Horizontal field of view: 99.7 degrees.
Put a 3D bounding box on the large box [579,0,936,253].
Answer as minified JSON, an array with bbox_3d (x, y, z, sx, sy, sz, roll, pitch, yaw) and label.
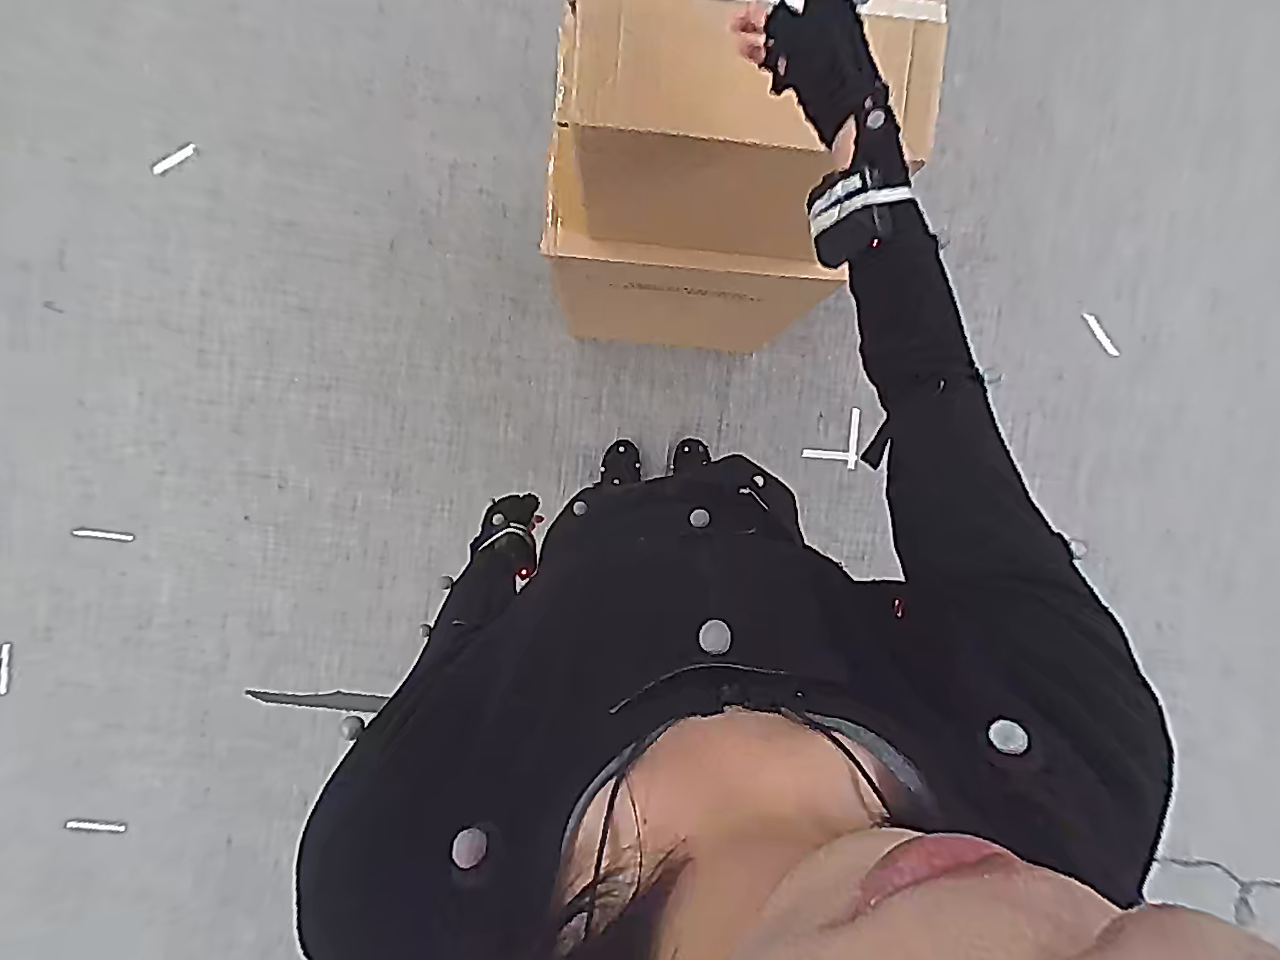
[{"bbox_3d":[0.127,-0.540,0.752,0.408,0.320,0.320,4,93,-4],"label":"large box"}]
